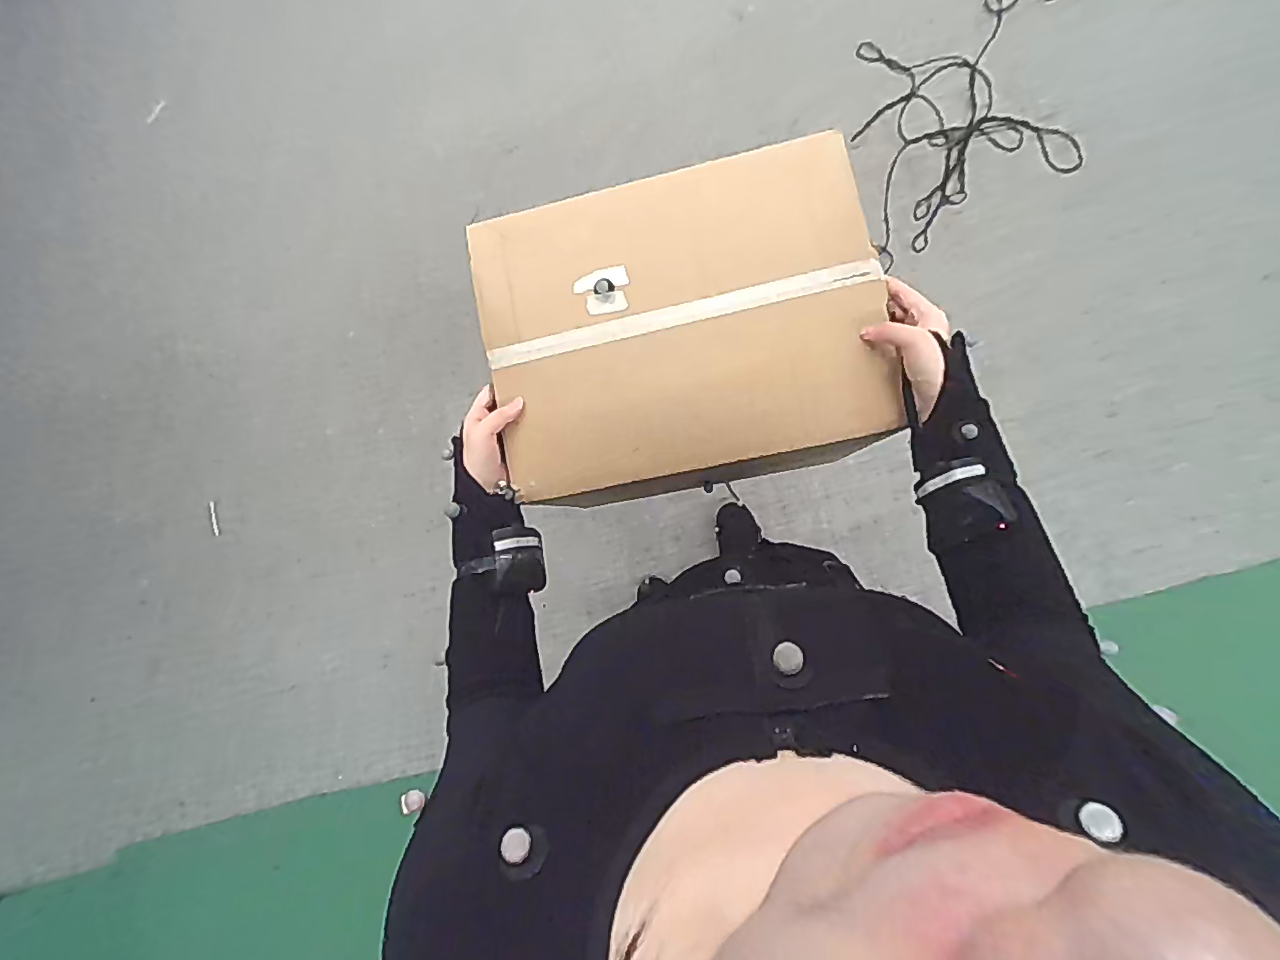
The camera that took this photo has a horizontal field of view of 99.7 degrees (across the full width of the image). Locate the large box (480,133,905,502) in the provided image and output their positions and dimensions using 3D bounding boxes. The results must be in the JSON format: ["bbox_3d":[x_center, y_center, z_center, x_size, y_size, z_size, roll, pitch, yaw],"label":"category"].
[{"bbox_3d":[0.063,-0.160,0.713,0.408,0.320,0.320,-12,84,8],"label":"large box"}]
